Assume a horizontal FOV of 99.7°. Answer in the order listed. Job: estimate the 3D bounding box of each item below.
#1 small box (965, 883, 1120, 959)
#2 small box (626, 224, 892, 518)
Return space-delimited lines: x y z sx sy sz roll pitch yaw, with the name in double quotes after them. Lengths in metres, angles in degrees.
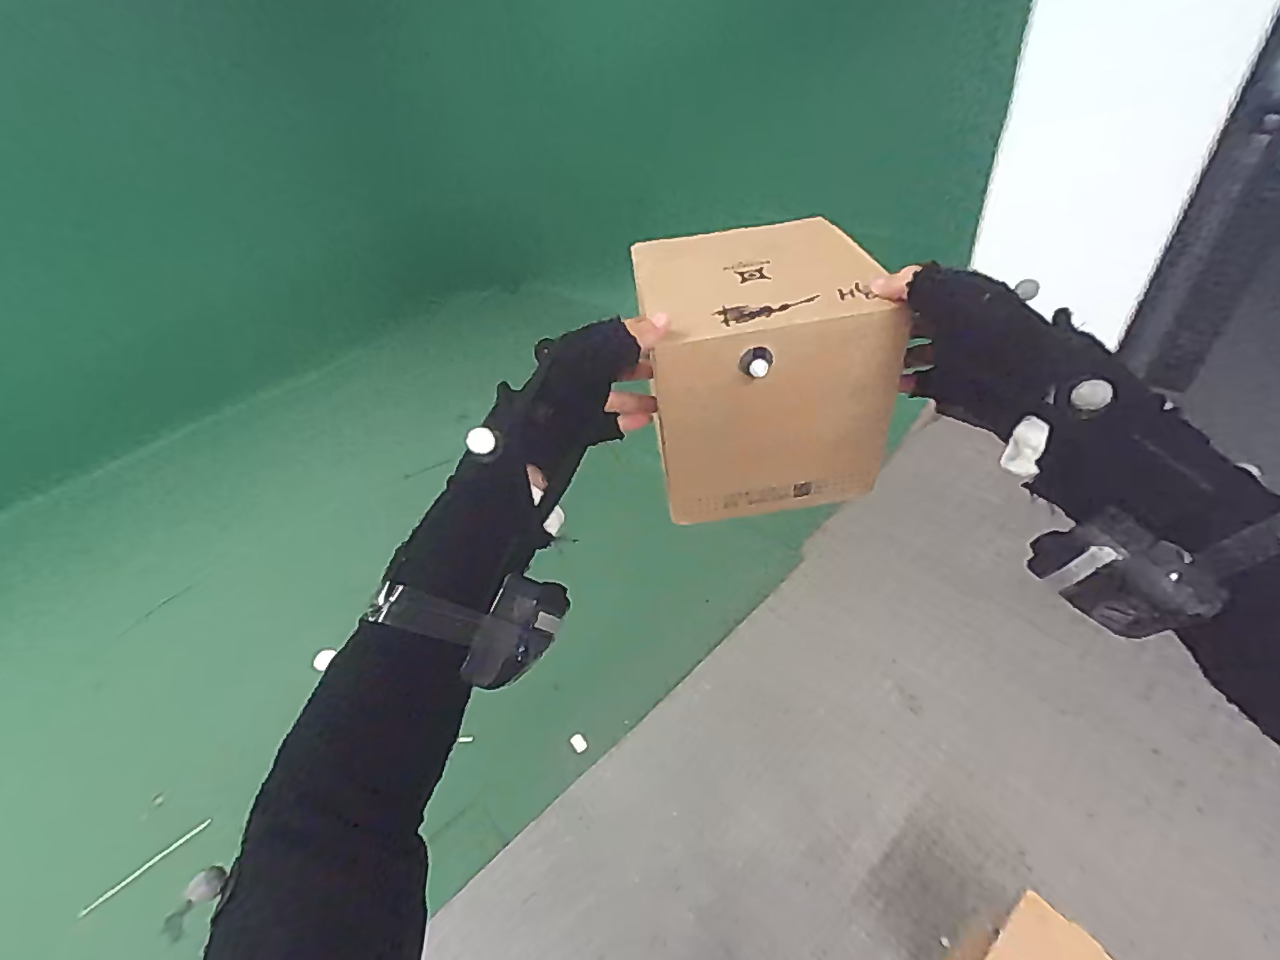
0.626 0.788 0.844 0.179 0.176 0.168 -36 45 -22 "small box"
0.084 -0.093 0.458 0.168 0.176 0.179 -10 41 2 "small box"
